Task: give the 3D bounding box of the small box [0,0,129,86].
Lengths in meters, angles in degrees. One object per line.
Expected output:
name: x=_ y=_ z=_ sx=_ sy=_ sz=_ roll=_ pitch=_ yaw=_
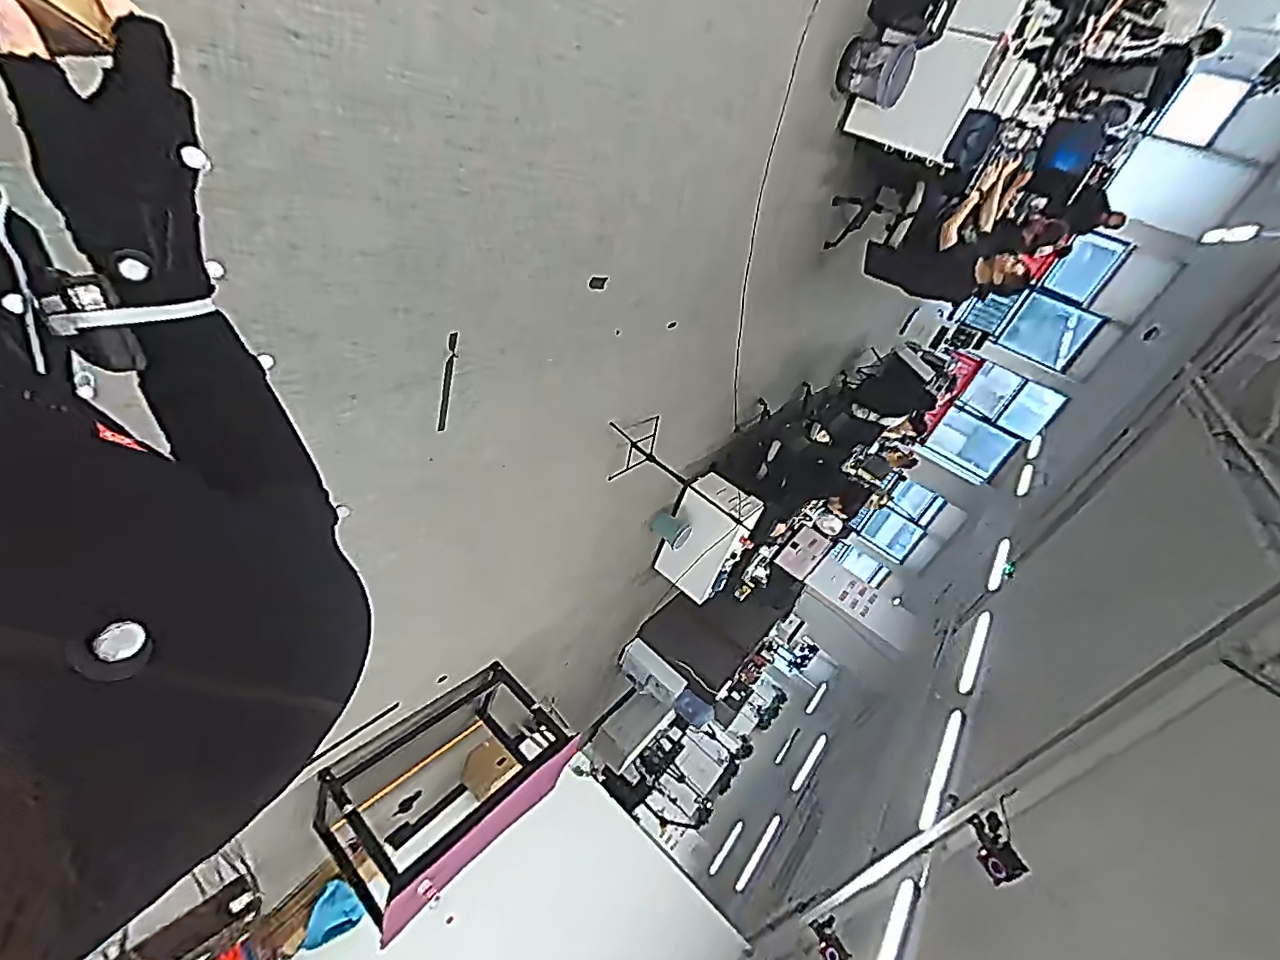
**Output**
small box: x=-0.390 y=-0.317 z=0.238 sx=0.179 sy=0.168 sz=0.176 roll=-28 pitch=119 yaw=-82
